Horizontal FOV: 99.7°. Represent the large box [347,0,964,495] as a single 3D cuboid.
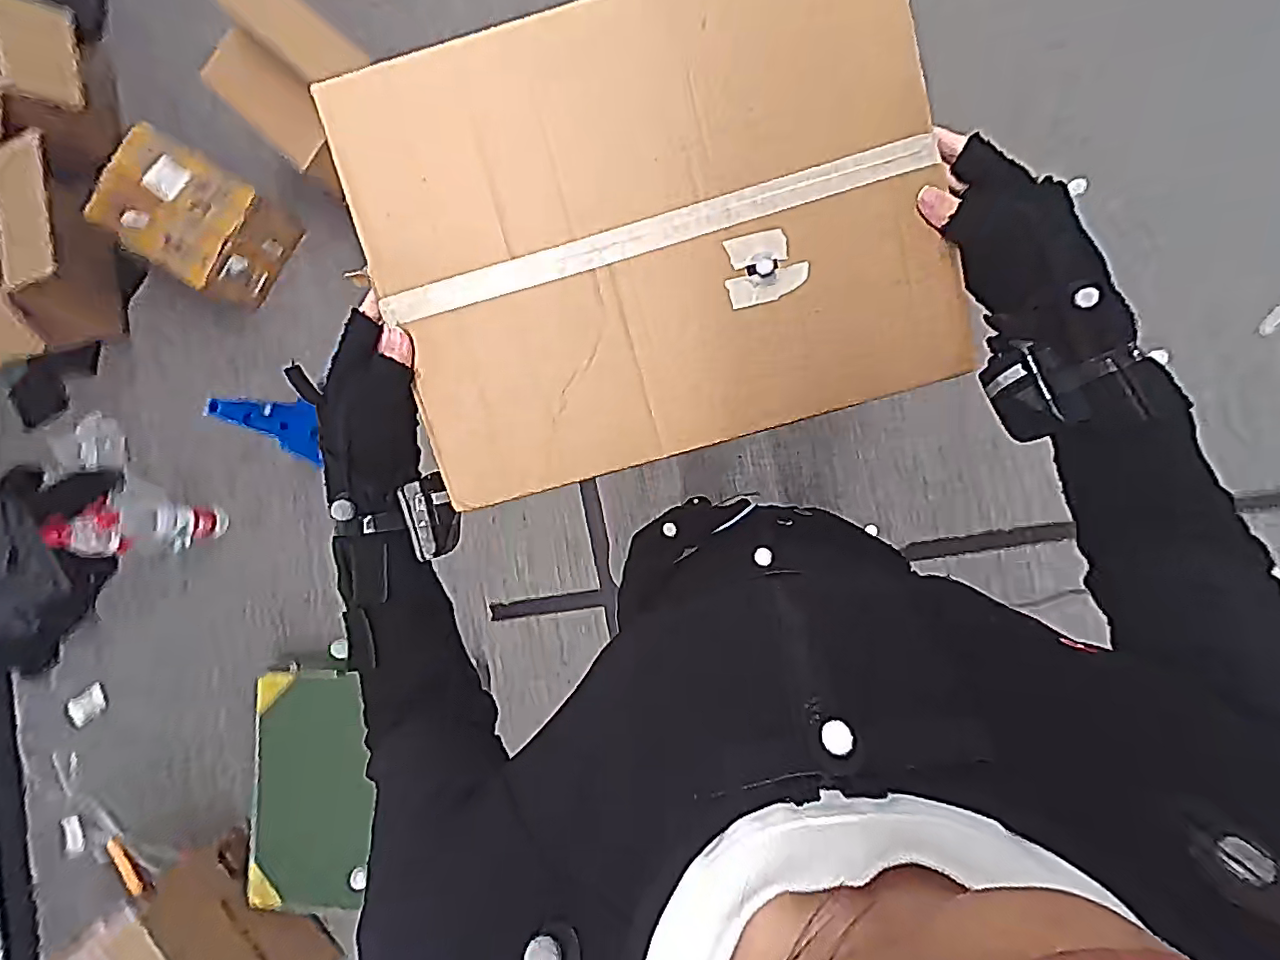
[{"bbox_3d":[0.016,-0.204,0.545,0.408,0.320,0.320,-15,99,2],"label":"large box"}]
